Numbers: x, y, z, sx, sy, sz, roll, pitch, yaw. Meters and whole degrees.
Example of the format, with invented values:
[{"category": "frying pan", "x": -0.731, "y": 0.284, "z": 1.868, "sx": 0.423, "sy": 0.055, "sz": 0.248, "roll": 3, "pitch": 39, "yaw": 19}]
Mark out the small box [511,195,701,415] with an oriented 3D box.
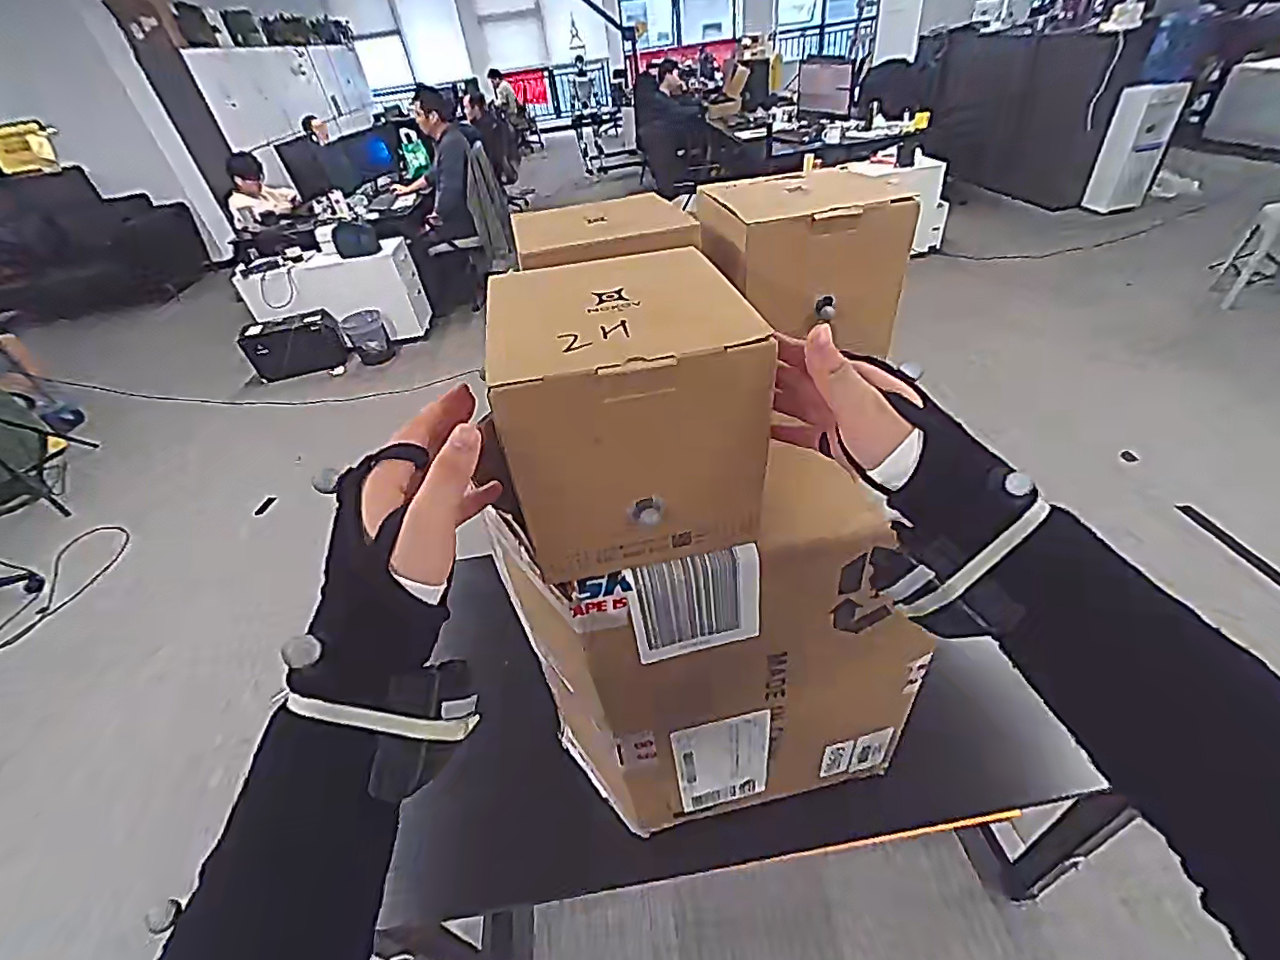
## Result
[{"category": "small box", "x": -0.038, "y": -0.194, "z": 0.592, "sx": 0.168, "sy": 0.176, "sz": 0.179, "roll": -14, "pitch": 39, "yaw": -6}]
